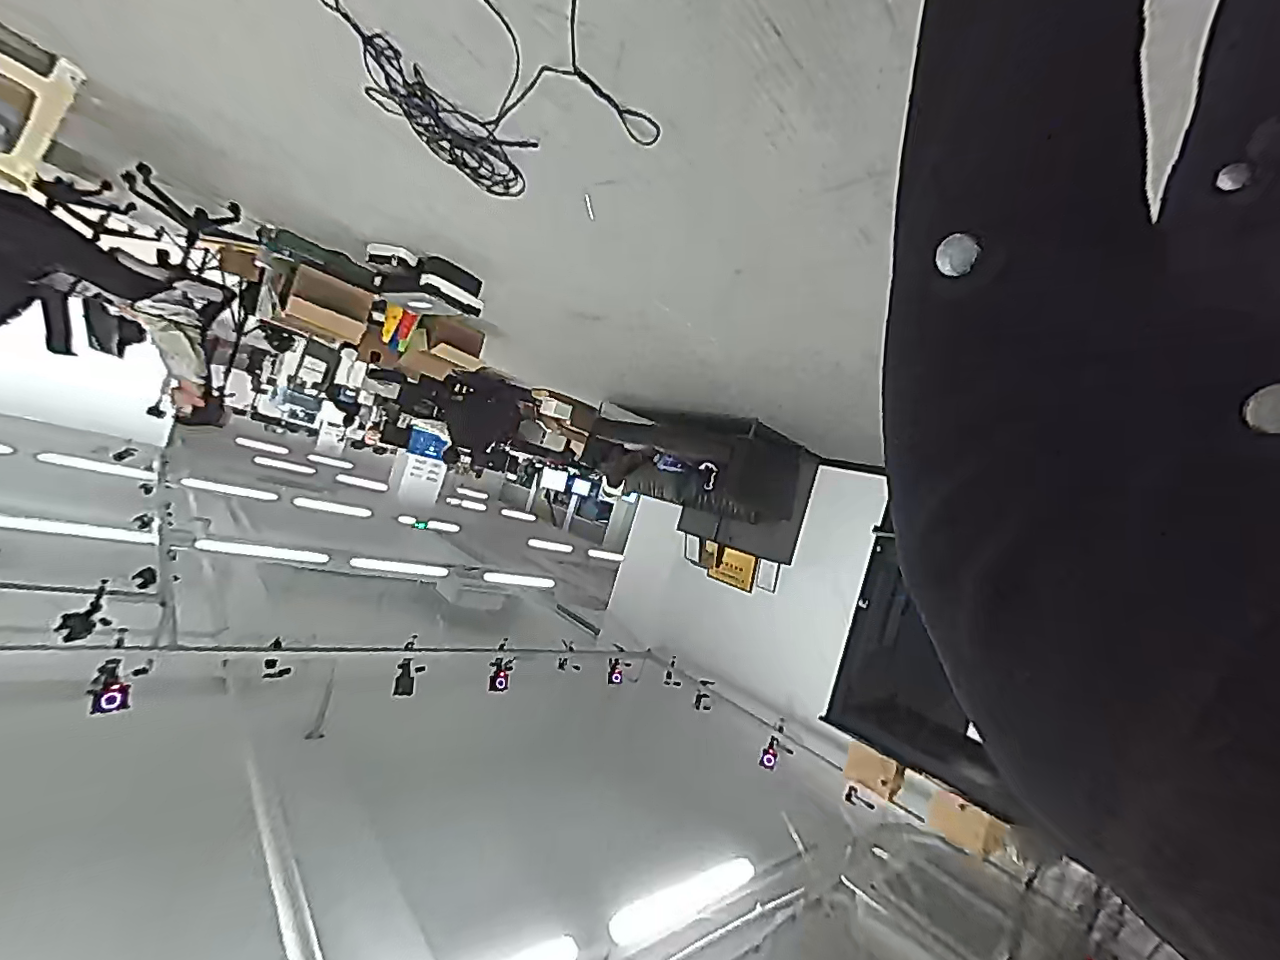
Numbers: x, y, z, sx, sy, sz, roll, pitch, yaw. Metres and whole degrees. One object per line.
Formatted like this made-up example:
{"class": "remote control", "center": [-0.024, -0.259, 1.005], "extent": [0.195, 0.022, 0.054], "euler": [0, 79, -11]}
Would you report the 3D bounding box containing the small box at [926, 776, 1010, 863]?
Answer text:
{"class": "small box", "center": [1.065, 1.087, 1.749], "extent": [0.179, 0.176, 0.168], "euler": [18, 177, -38]}
